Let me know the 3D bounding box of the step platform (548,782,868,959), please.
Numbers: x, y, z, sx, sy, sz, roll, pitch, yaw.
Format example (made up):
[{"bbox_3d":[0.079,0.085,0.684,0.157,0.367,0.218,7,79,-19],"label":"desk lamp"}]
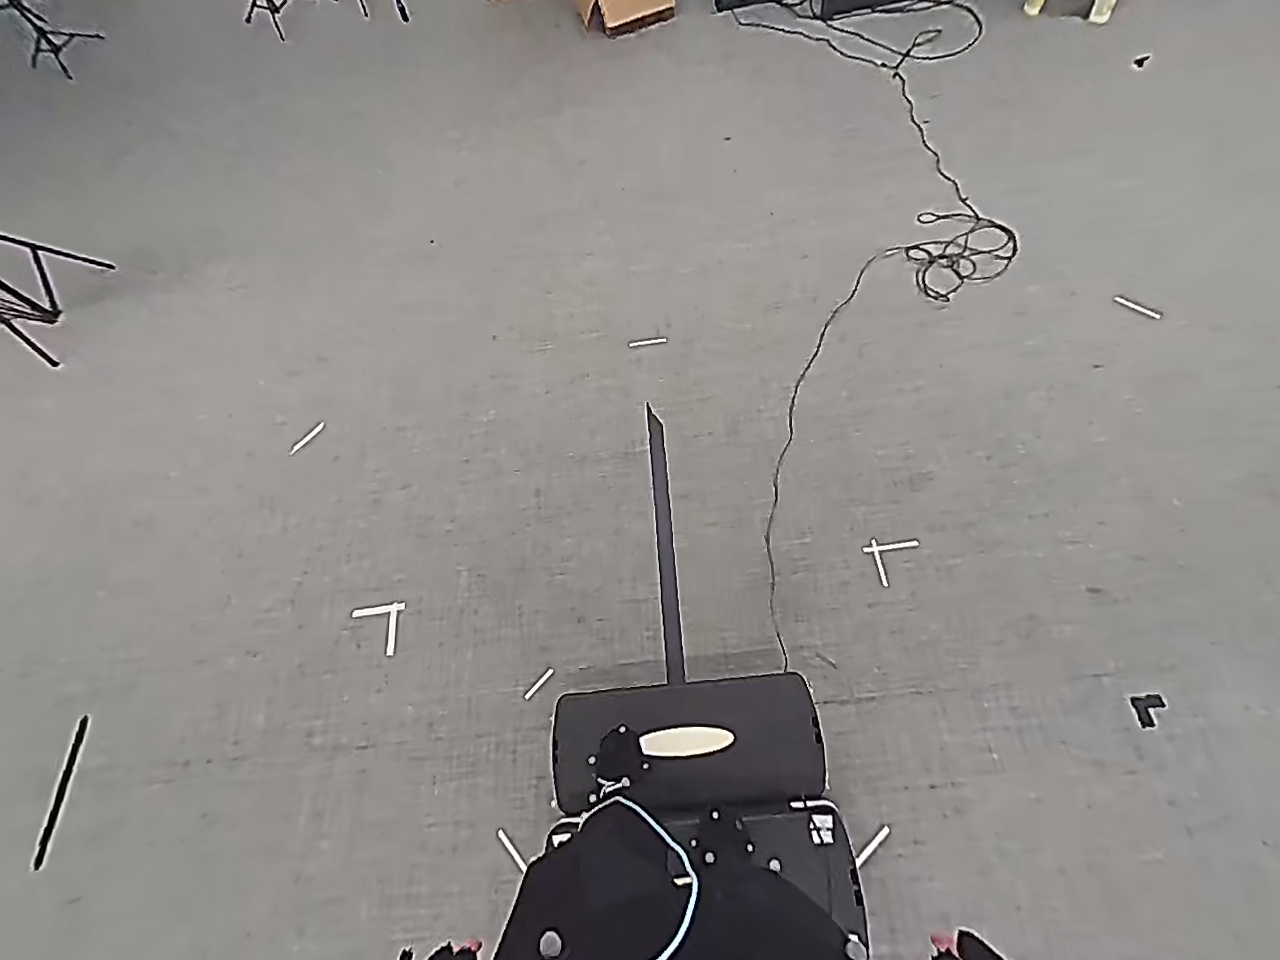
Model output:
[{"bbox_3d":[0.138,0.868,1.210,0.684,0.204,0.286,-9,63,6],"label":"step platform"}]
